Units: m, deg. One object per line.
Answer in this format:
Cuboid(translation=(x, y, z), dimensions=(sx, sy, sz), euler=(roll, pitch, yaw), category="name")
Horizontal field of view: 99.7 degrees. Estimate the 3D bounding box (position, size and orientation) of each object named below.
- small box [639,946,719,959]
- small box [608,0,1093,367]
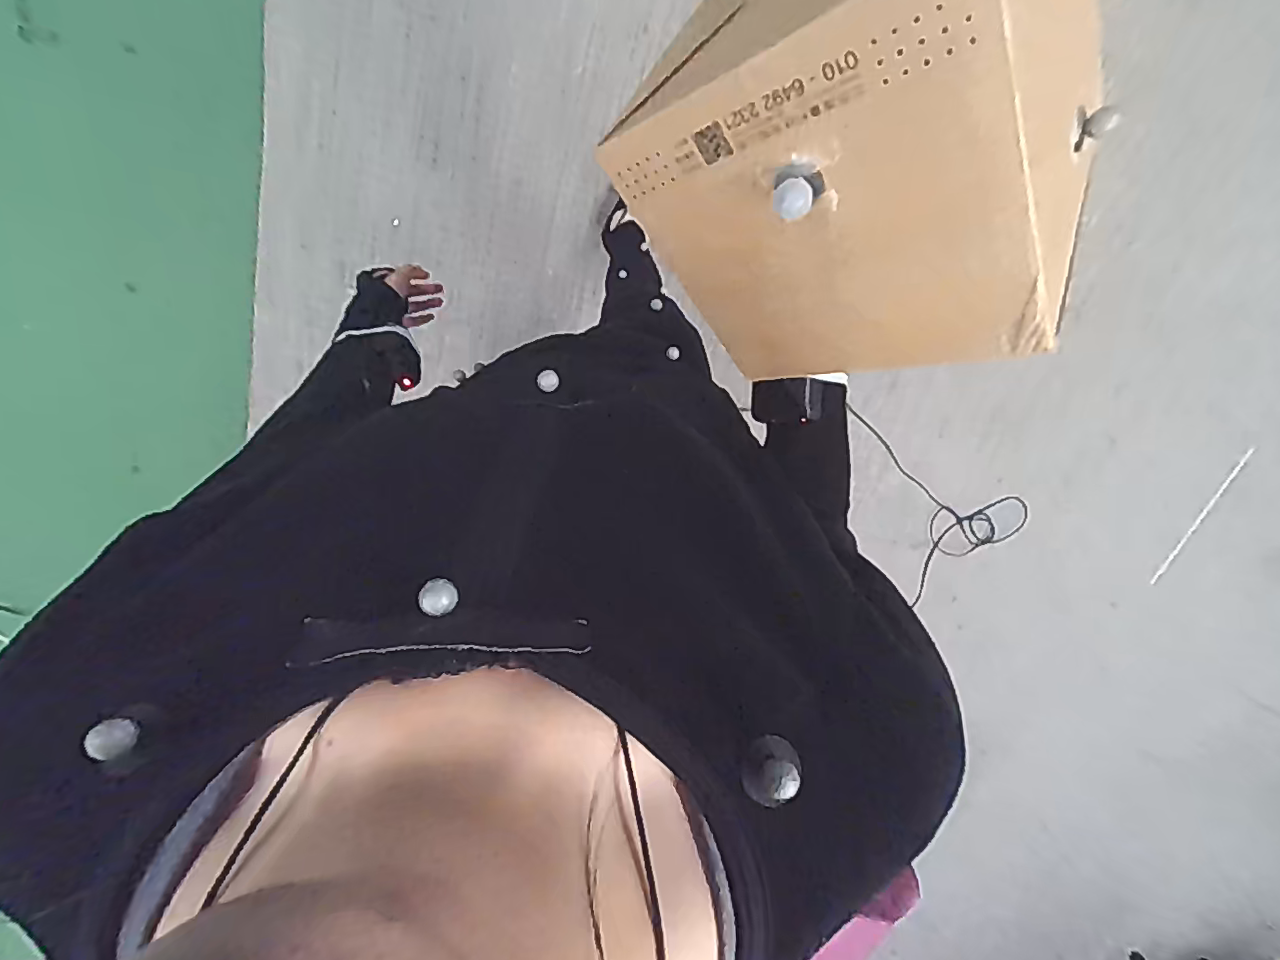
Cuboid(translation=(0.076, 1.122, 1.128), dimensions=(0.179, 0.176, 0.168), euler=(15, 111, -7), category="small box")
Cuboid(translation=(0.117, -0.185, 0.278), dimensions=(0.176, 0.168, 0.179), euler=(44, 63, -37), category="small box")
